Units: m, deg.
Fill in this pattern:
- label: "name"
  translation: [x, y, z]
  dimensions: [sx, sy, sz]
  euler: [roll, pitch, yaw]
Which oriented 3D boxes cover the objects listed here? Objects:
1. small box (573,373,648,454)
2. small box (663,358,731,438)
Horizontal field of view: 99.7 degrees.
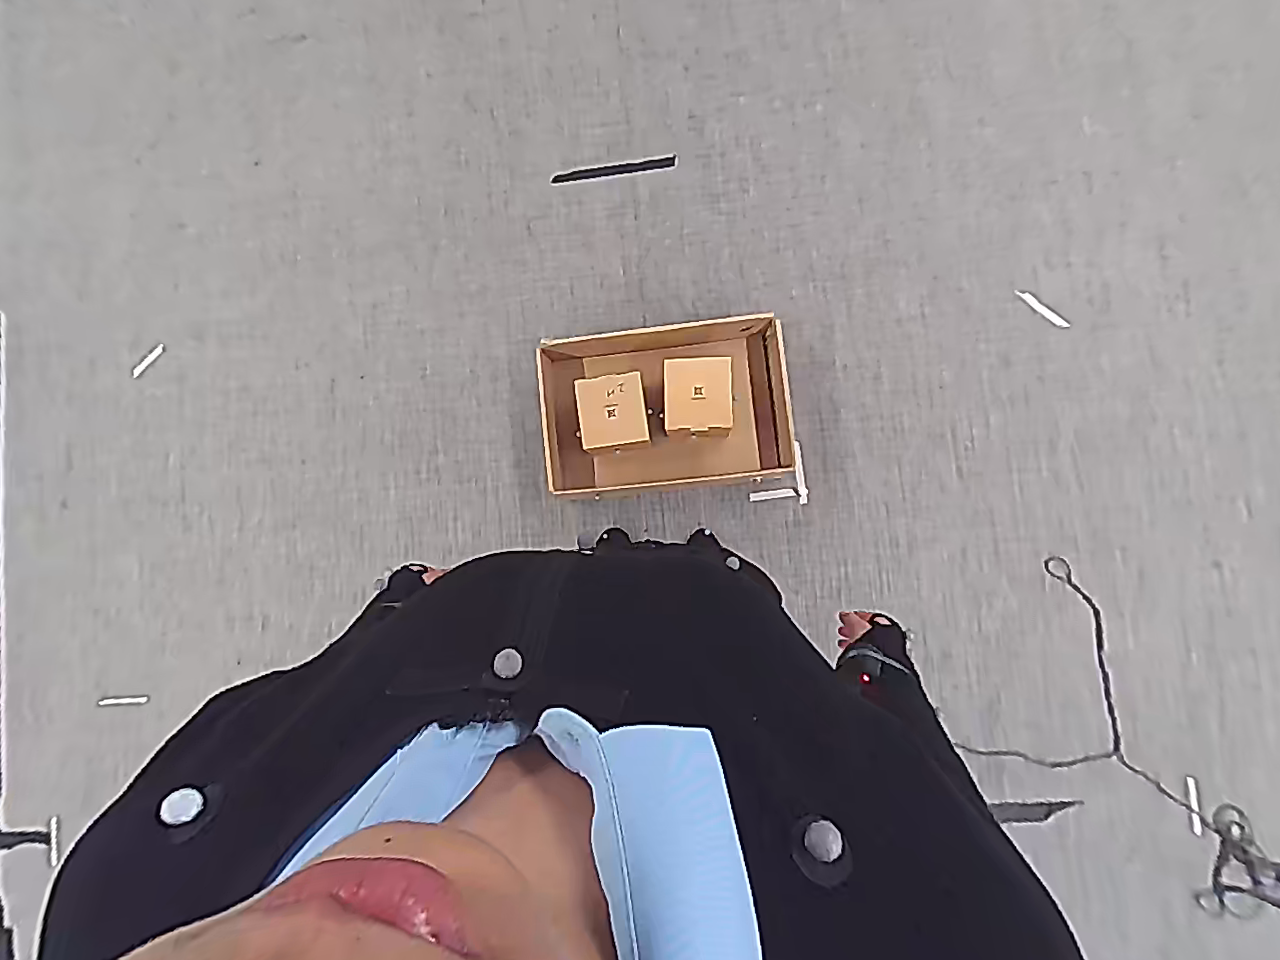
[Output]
- label: "small box"
  translation: [-0.070, -0.164, 1.402]
  dimensions: [0.168, 0.176, 0.179]
  euler: [-8, 86, 2]
- label: "small box"
  translation: [0.144, -0.206, 1.393]
  dimensions: [0.168, 0.176, 0.179]
  euler: [-1, 87, 4]
